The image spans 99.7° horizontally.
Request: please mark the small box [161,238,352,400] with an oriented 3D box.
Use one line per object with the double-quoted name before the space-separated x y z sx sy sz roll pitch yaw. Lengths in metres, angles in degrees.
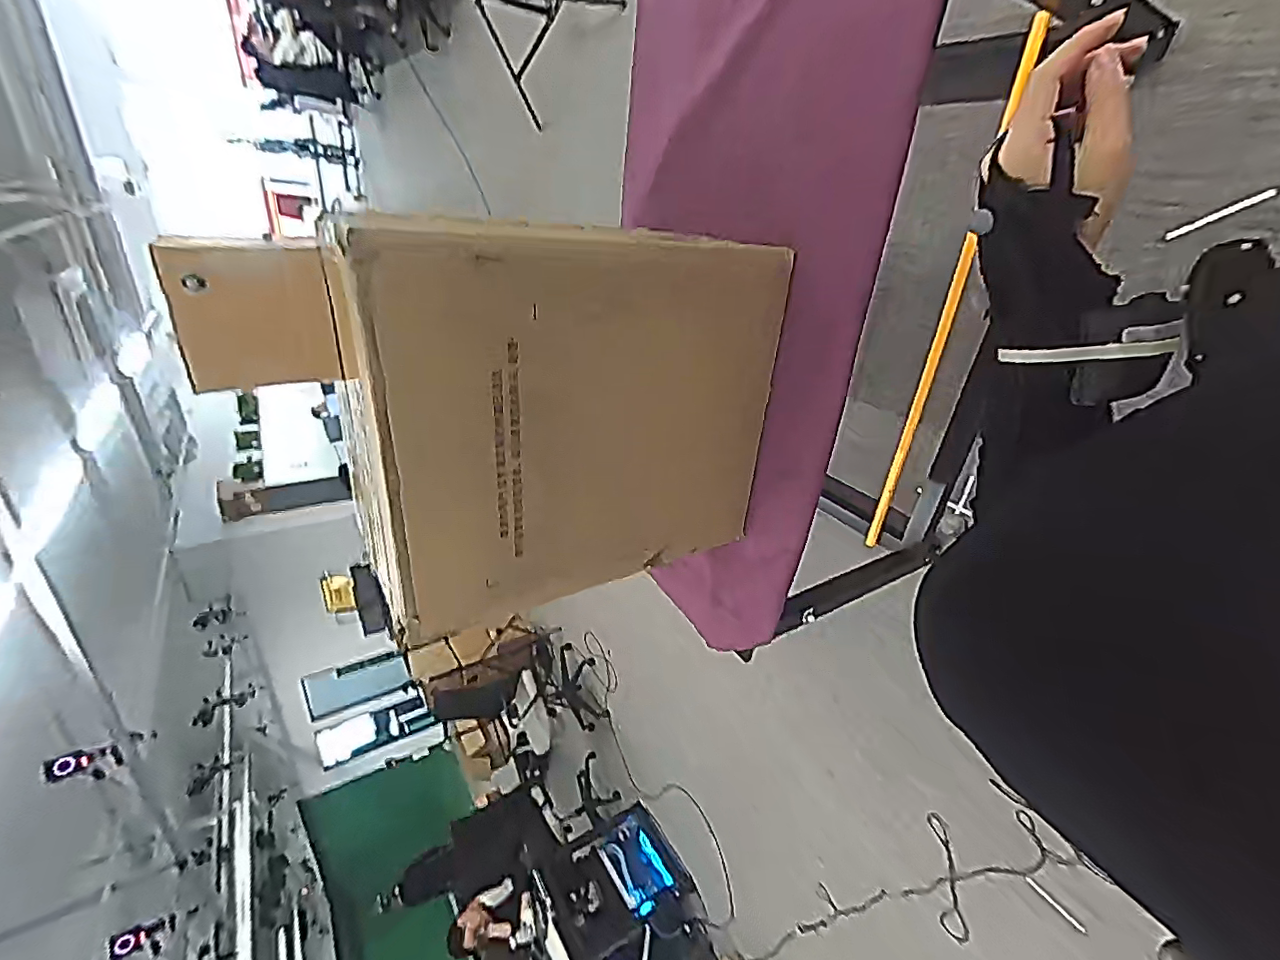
"small box" -0.500 -0.223 0.728 0.168 0.176 0.179 38 132 48
